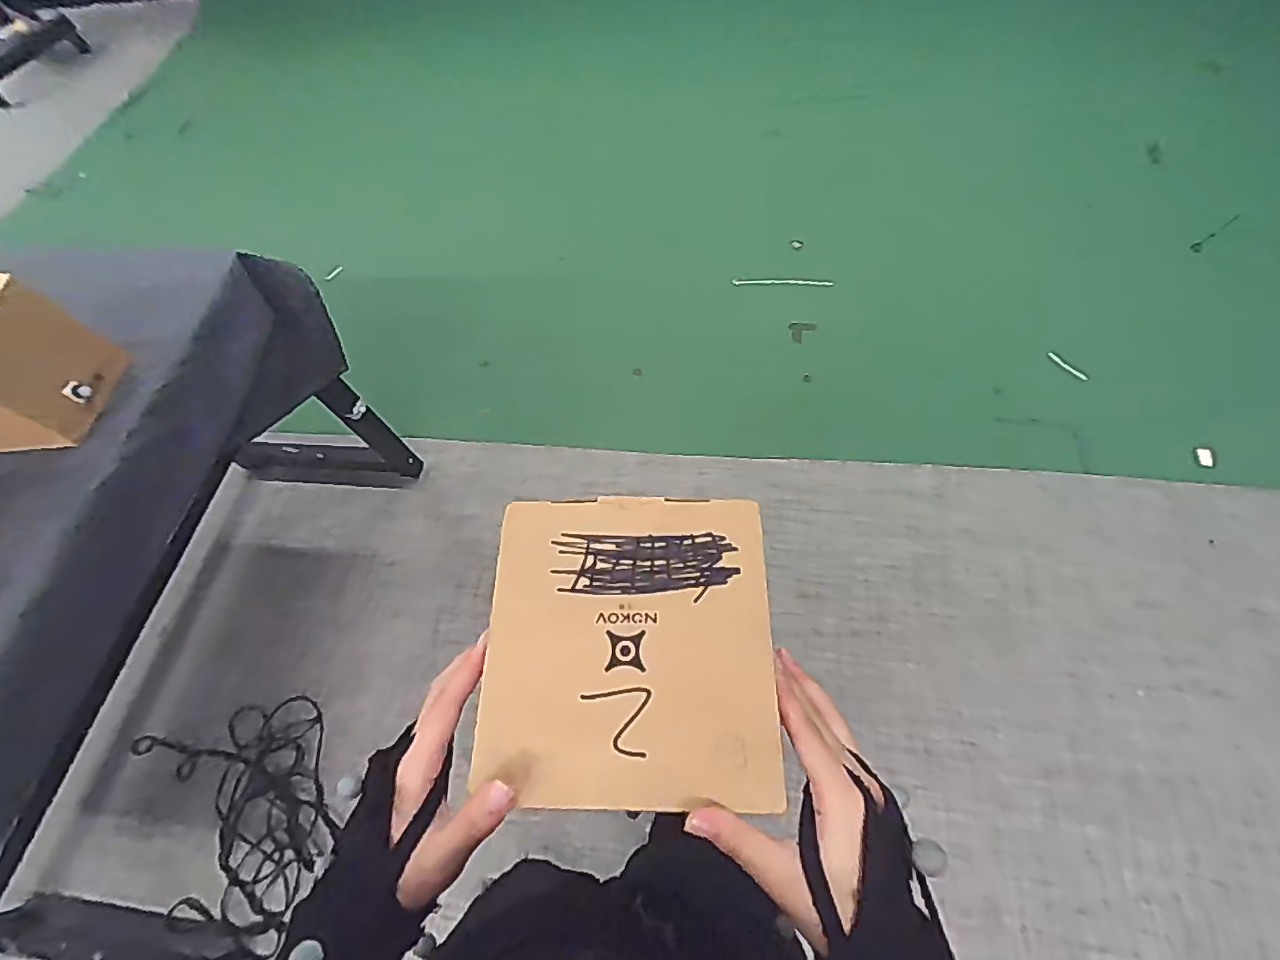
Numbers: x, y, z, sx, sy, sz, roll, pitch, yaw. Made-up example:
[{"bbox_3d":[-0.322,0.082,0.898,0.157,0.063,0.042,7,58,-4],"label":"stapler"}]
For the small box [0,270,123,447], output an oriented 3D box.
[{"bbox_3d":[-0.880,-0.154,0.728,0.179,0.176,0.168,-3,64,5],"label":"small box"}]
